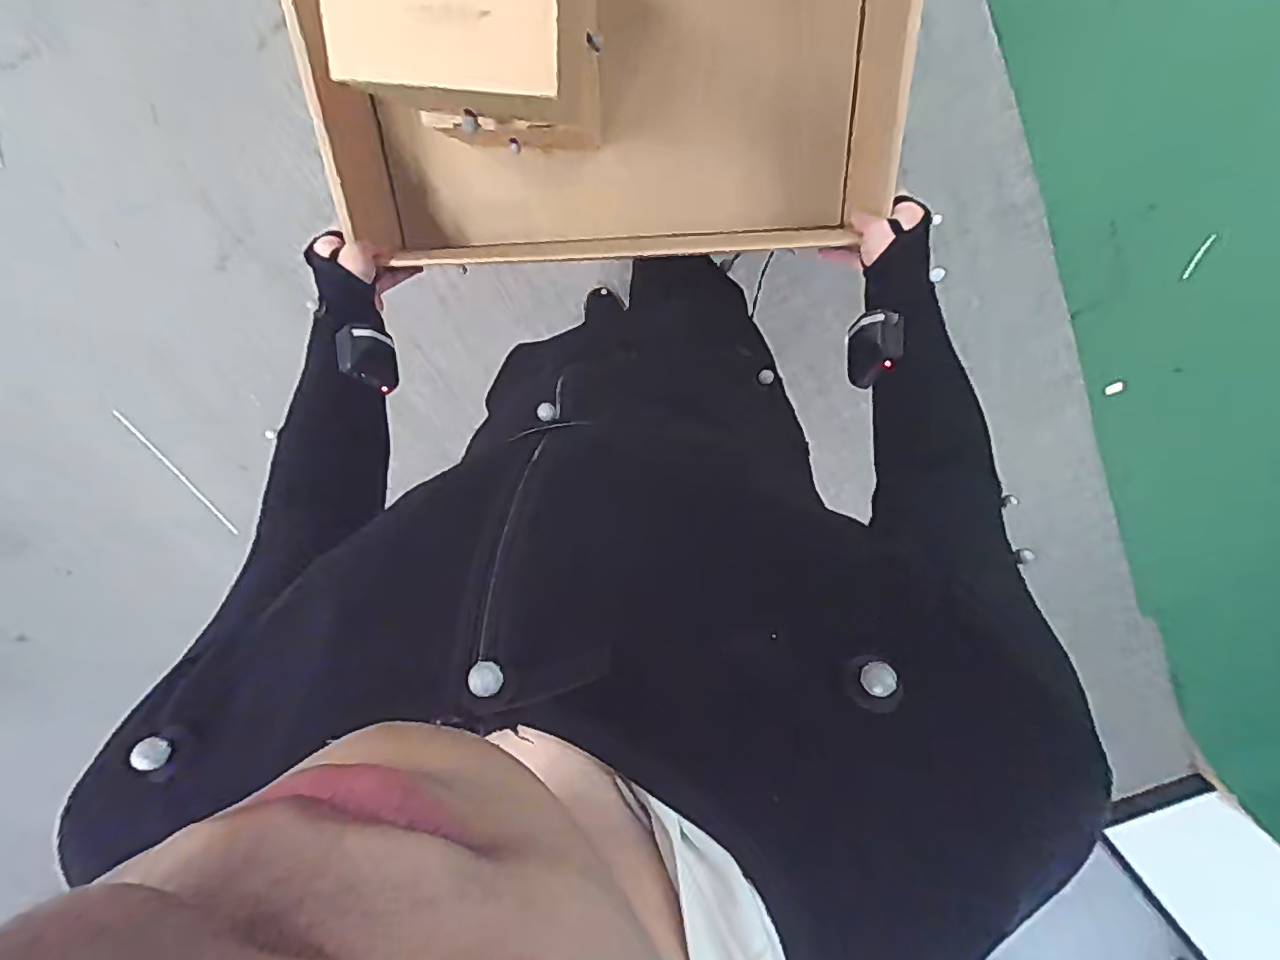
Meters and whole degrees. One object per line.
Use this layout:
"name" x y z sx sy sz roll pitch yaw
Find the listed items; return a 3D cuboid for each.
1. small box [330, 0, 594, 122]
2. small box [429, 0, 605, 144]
"small box" -0.126 -0.403 0.423 0.168 0.176 0.179 5 117 -2
"small box" -0.125 -0.470 0.572 0.168 0.176 0.179 1 117 -1
